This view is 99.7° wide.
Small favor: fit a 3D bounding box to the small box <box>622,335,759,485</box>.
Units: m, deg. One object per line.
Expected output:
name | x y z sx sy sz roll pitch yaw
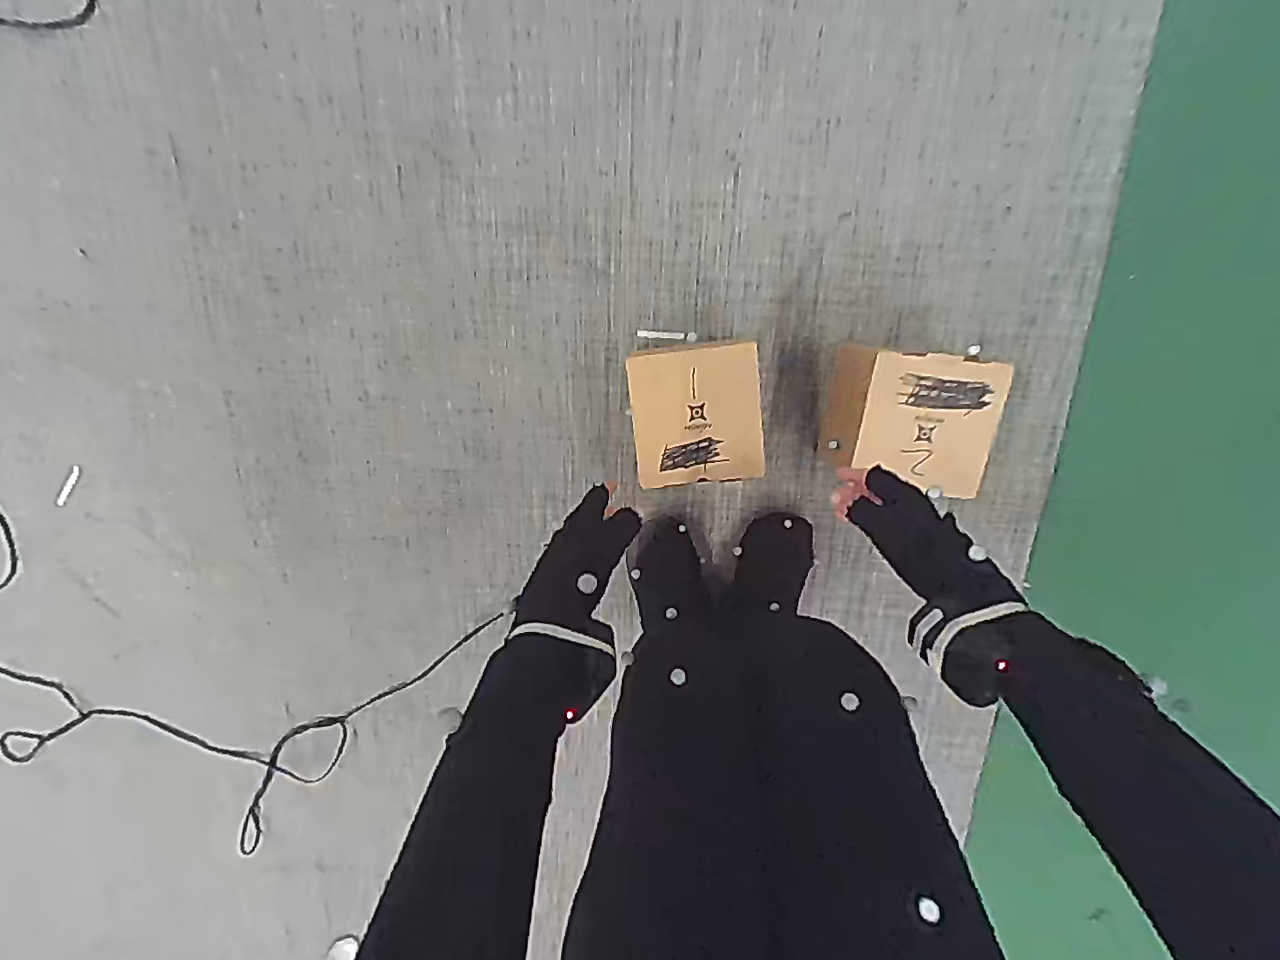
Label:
small box | 0.073 -0.105 0.764 0.168 0.176 0.179 -6 105 6
